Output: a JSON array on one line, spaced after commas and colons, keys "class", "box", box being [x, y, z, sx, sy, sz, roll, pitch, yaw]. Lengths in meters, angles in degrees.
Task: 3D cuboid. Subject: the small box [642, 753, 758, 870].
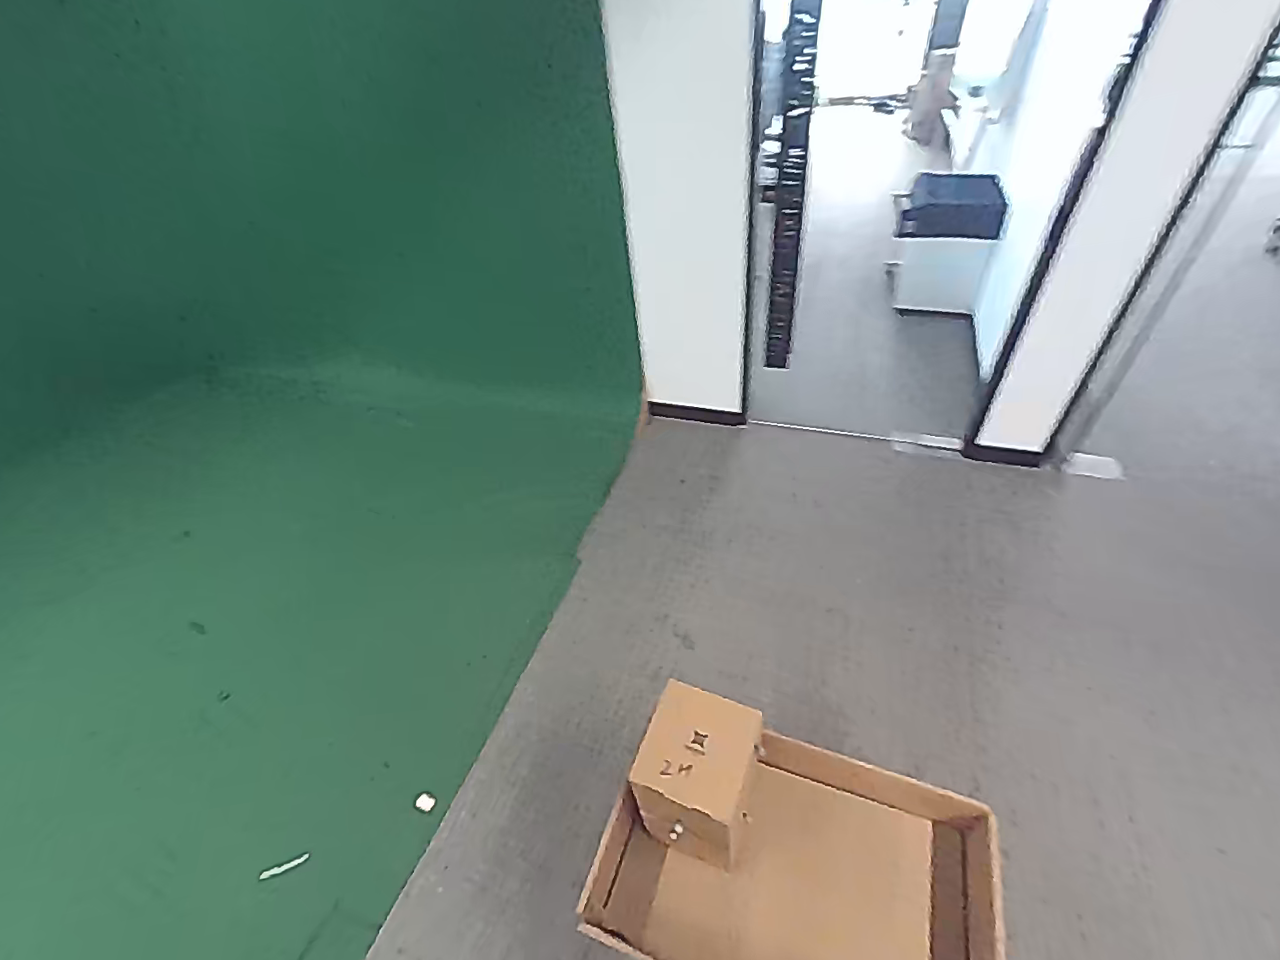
[{"class": "small box", "box": [0.115, 0.590, 1.019, 0.168, 0.176, 0.179, 13, 47, 20]}]

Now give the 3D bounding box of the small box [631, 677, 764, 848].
[{"class": "small box", "box": [0.100, 0.472, 0.906, 0.168, 0.176, 0.179, 14, 48, 22]}]
